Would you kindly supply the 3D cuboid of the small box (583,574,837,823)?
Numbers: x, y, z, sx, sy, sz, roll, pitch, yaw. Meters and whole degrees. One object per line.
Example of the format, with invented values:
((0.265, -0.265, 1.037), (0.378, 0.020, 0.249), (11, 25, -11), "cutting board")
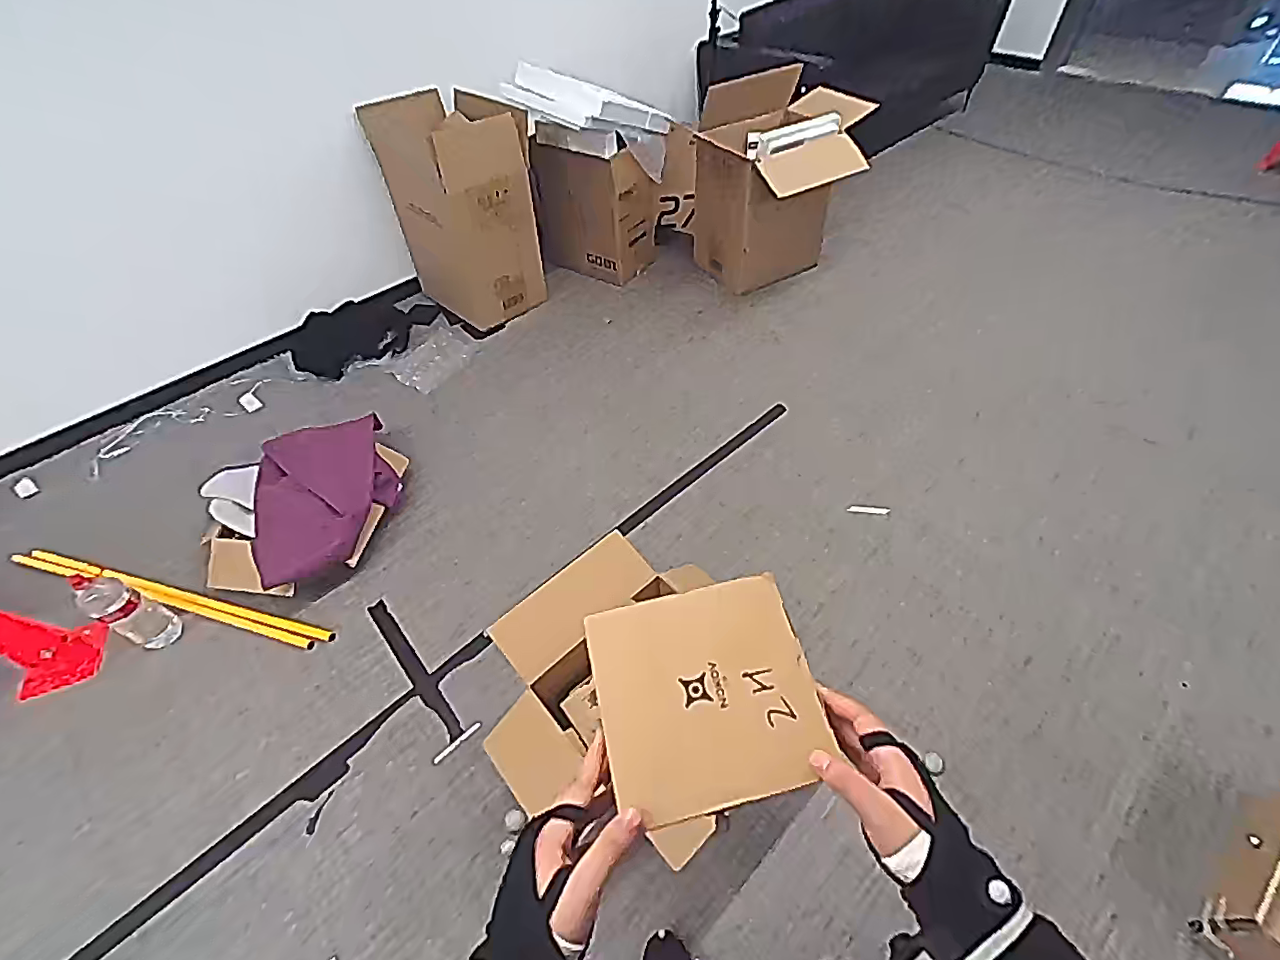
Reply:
((0.053, 0.211, 0.513), (0.179, 0.176, 0.168), (-12, 60, -6), "small box")
